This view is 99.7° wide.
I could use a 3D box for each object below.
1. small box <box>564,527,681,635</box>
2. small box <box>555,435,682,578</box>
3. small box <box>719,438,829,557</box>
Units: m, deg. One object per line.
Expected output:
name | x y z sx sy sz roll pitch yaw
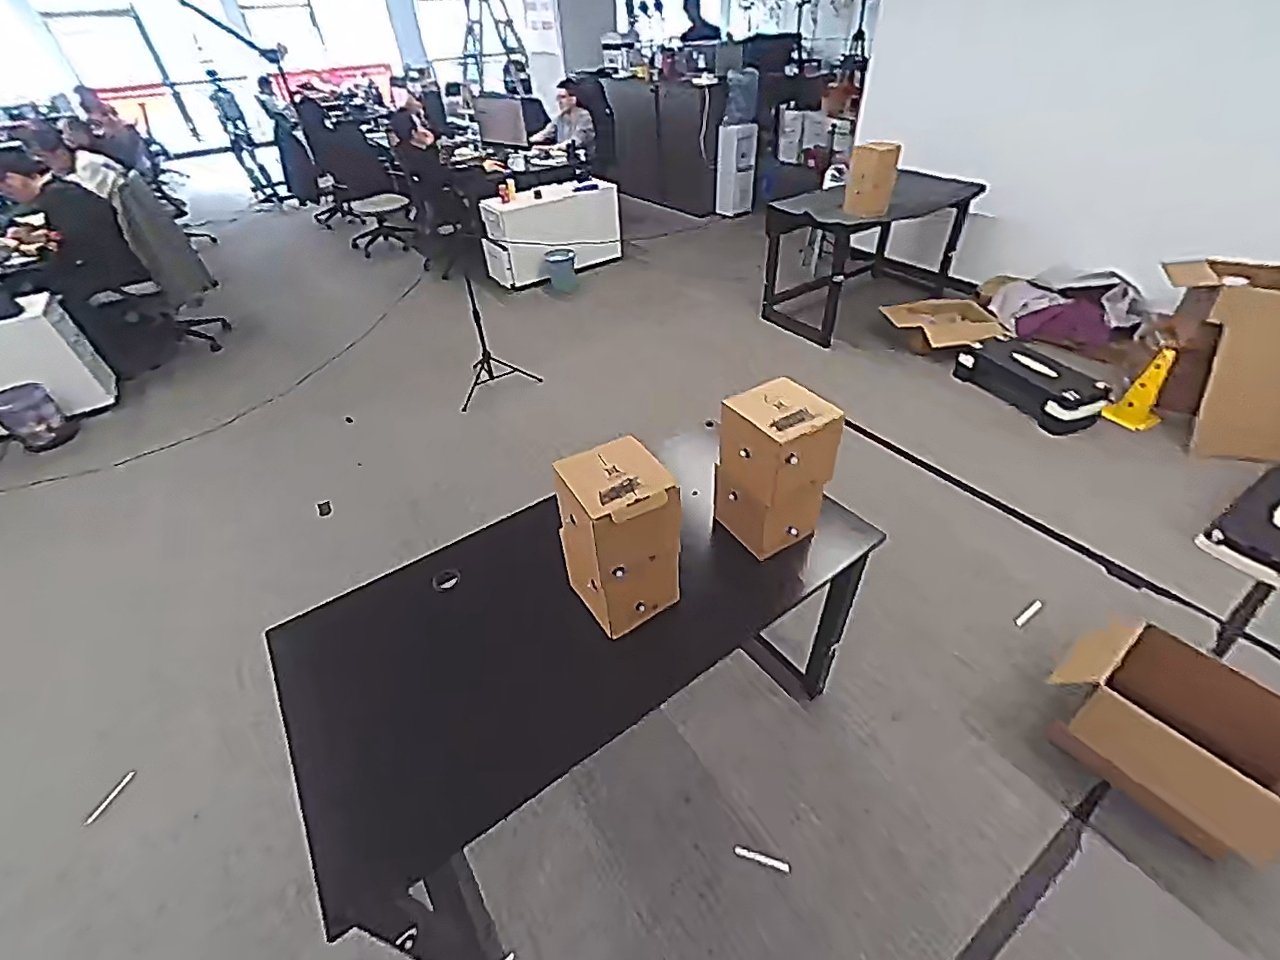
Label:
small box | -0.034 0.172 1.085 0.168 0.176 0.179 -26 46 -24
small box | -0.036 0.052 0.972 0.168 0.176 0.179 -22 44 -20
small box | 0.288 0.039 1.208 0.168 0.176 0.179 -24 44 -20
